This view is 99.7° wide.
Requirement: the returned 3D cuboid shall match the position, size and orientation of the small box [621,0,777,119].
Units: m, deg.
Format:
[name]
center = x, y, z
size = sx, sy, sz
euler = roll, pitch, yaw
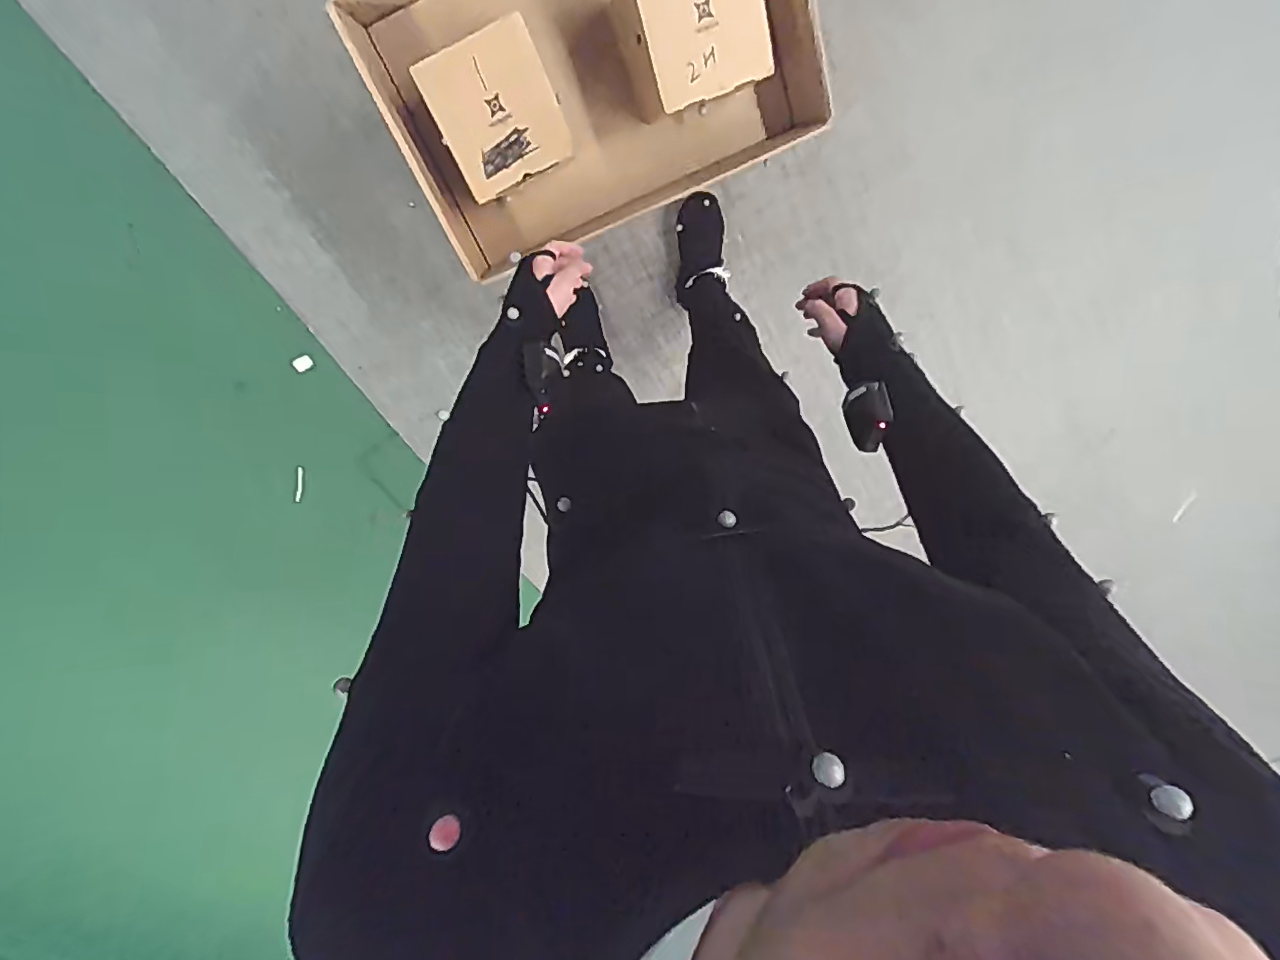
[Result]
[small box]
center = 0.078, -0.650, 0.777
size = 0.168, 0.176, 0.179
euler = -19, 120, 3
